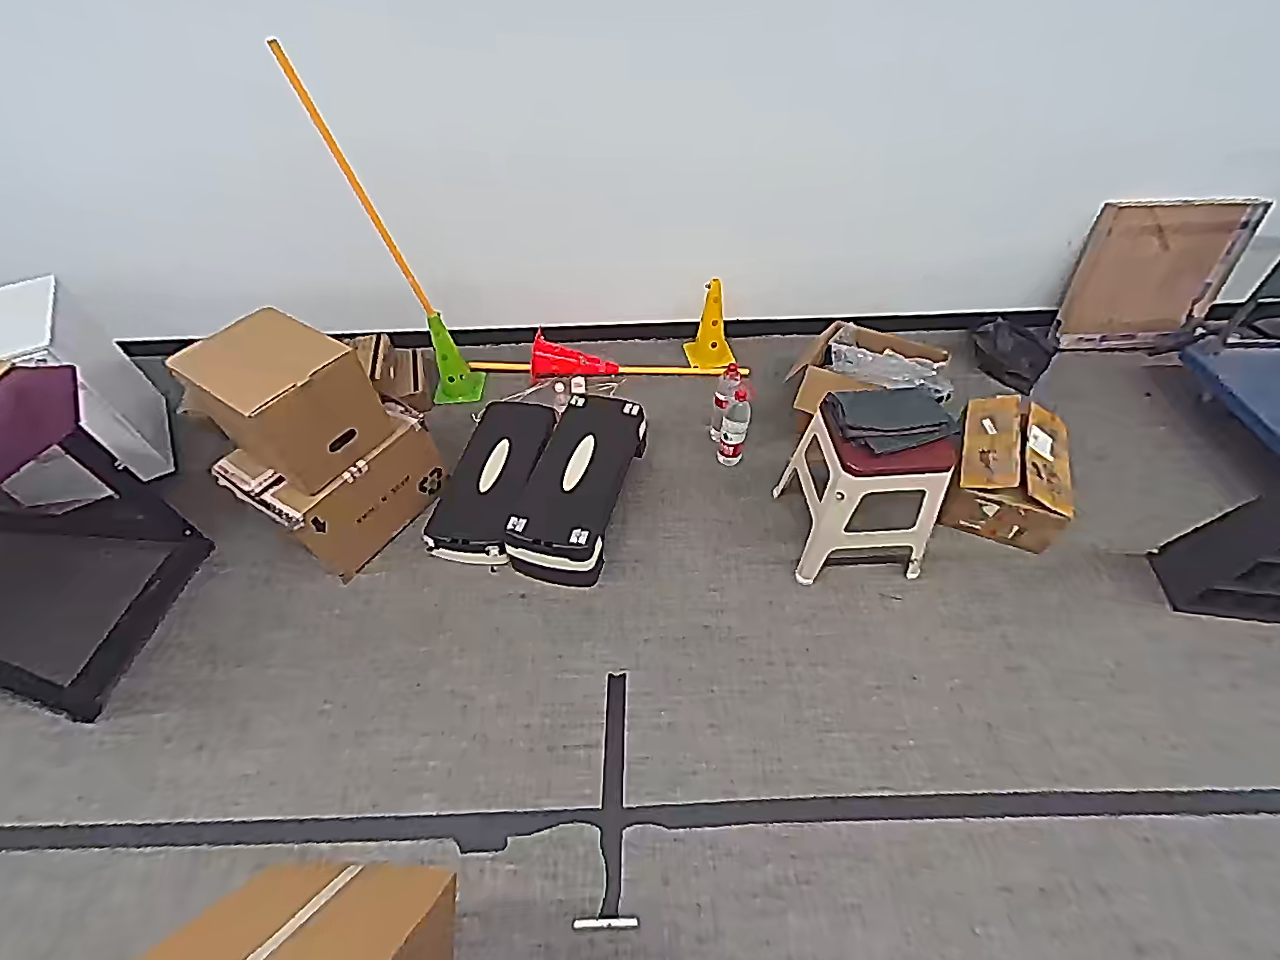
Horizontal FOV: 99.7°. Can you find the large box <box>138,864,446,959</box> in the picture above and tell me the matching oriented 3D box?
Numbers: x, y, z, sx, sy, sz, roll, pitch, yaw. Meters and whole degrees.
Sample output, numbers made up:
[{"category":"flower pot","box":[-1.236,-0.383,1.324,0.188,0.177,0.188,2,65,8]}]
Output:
[{"category":"large box","box":[-0.466,0.738,0.642,0.320,0.408,0.320,-2,81,5]}]
